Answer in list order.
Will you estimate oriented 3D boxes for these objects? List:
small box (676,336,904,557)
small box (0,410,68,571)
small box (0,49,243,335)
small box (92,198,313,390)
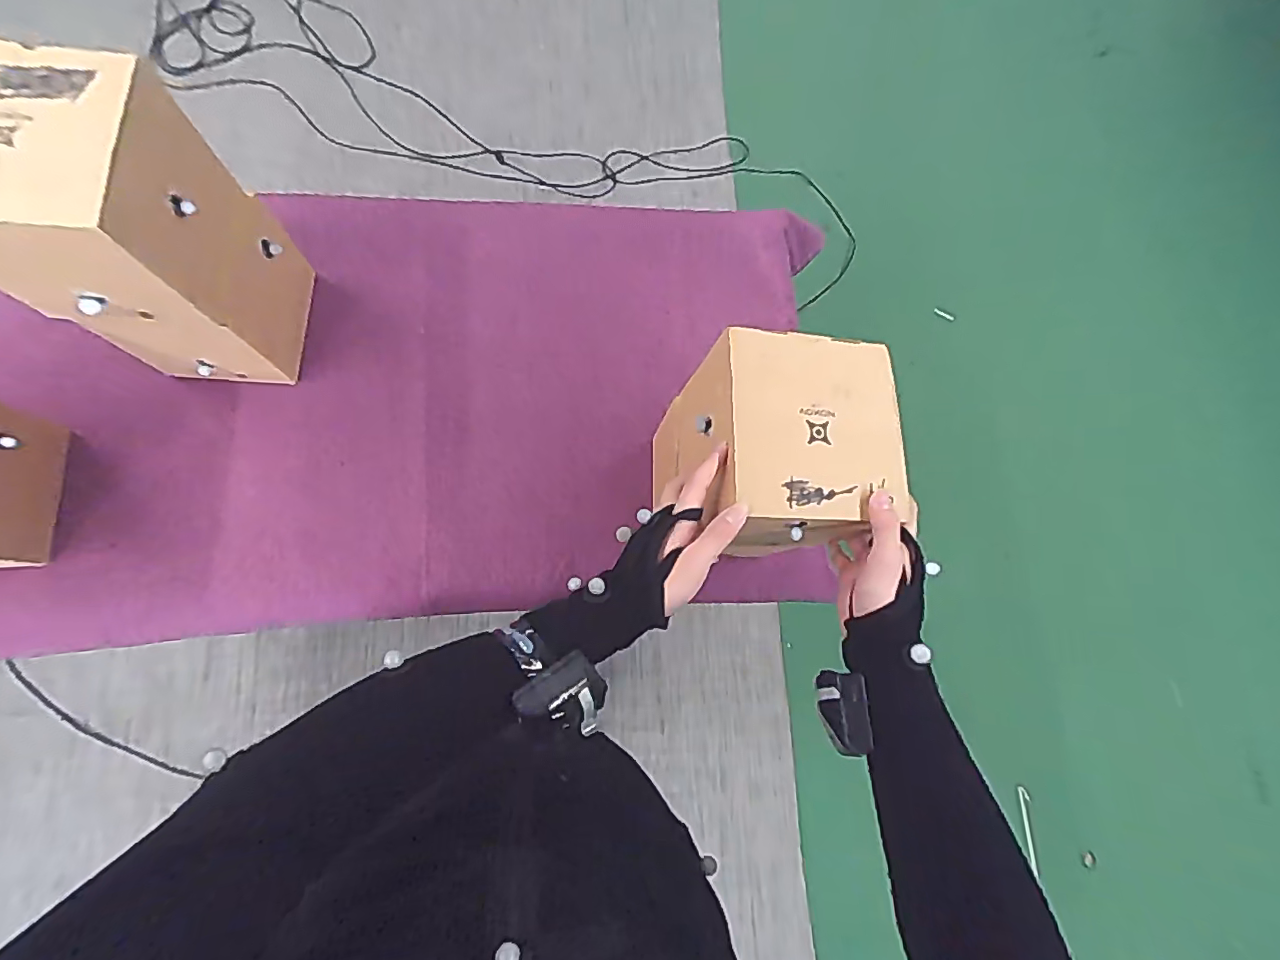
[{"bbox_3d":[0.136,-0.022,0.556,0.168,0.176,0.179,3,75,-11],"label":"small box"},{"bbox_3d":[-0.794,0.006,0.588,0.168,0.176,0.179,-1,76,-9],"label":"small box"},{"bbox_3d":[-0.525,-0.264,0.523,0.168,0.176,0.179,2,77,-8],"label":"small box"},{"bbox_3d":[-0.543,-0.233,0.683,0.168,0.176,0.179,4,77,-8],"label":"small box"}]
